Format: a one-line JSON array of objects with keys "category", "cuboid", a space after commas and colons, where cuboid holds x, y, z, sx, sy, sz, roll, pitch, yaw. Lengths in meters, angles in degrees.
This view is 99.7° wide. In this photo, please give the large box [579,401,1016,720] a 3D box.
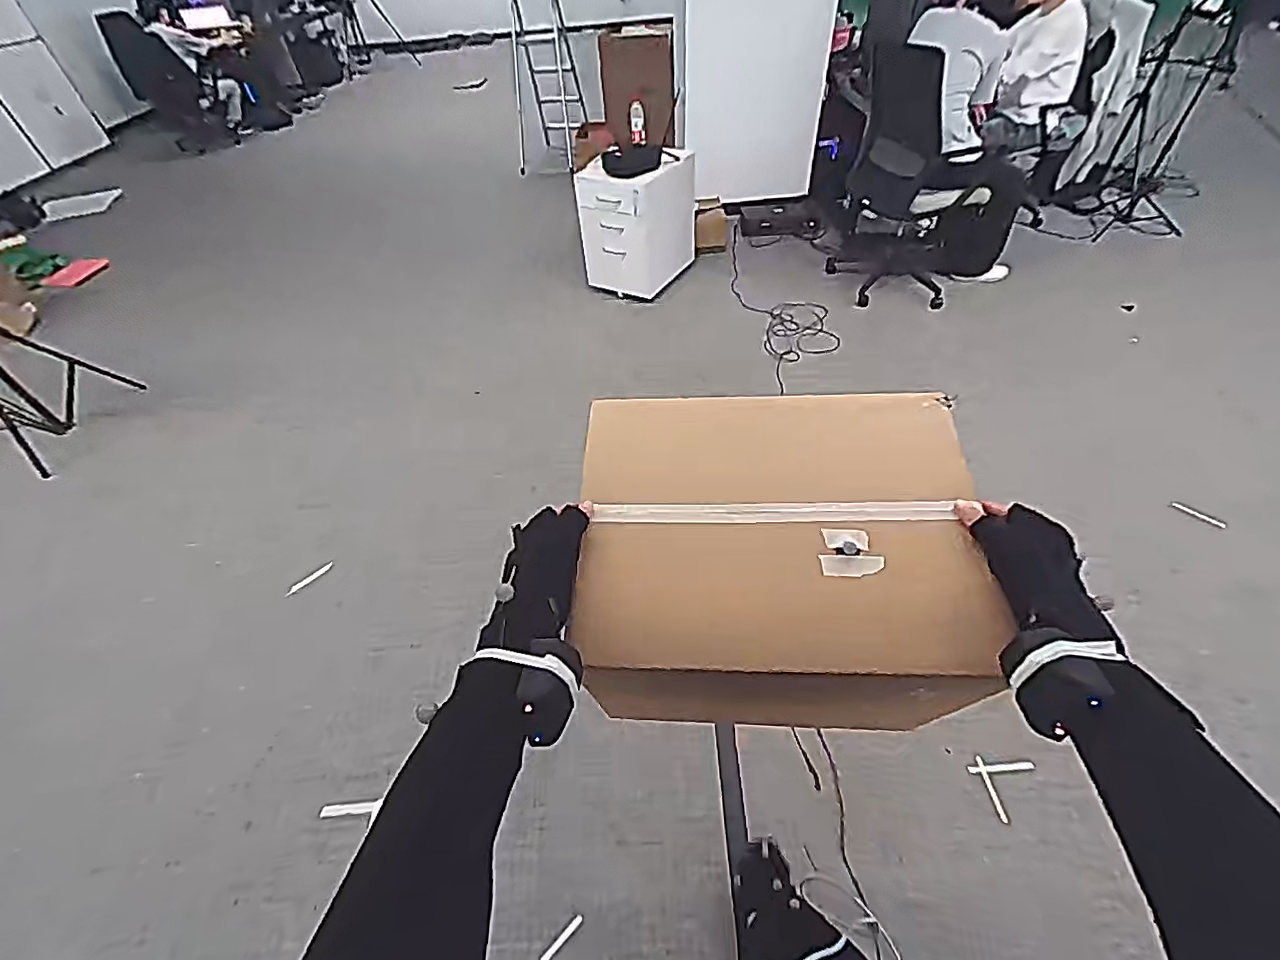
[{"category": "large box", "cuboid": [0.153, 0.119, 0.697, 0.408, 0.320, 0.320, -1, 58, 5]}]
